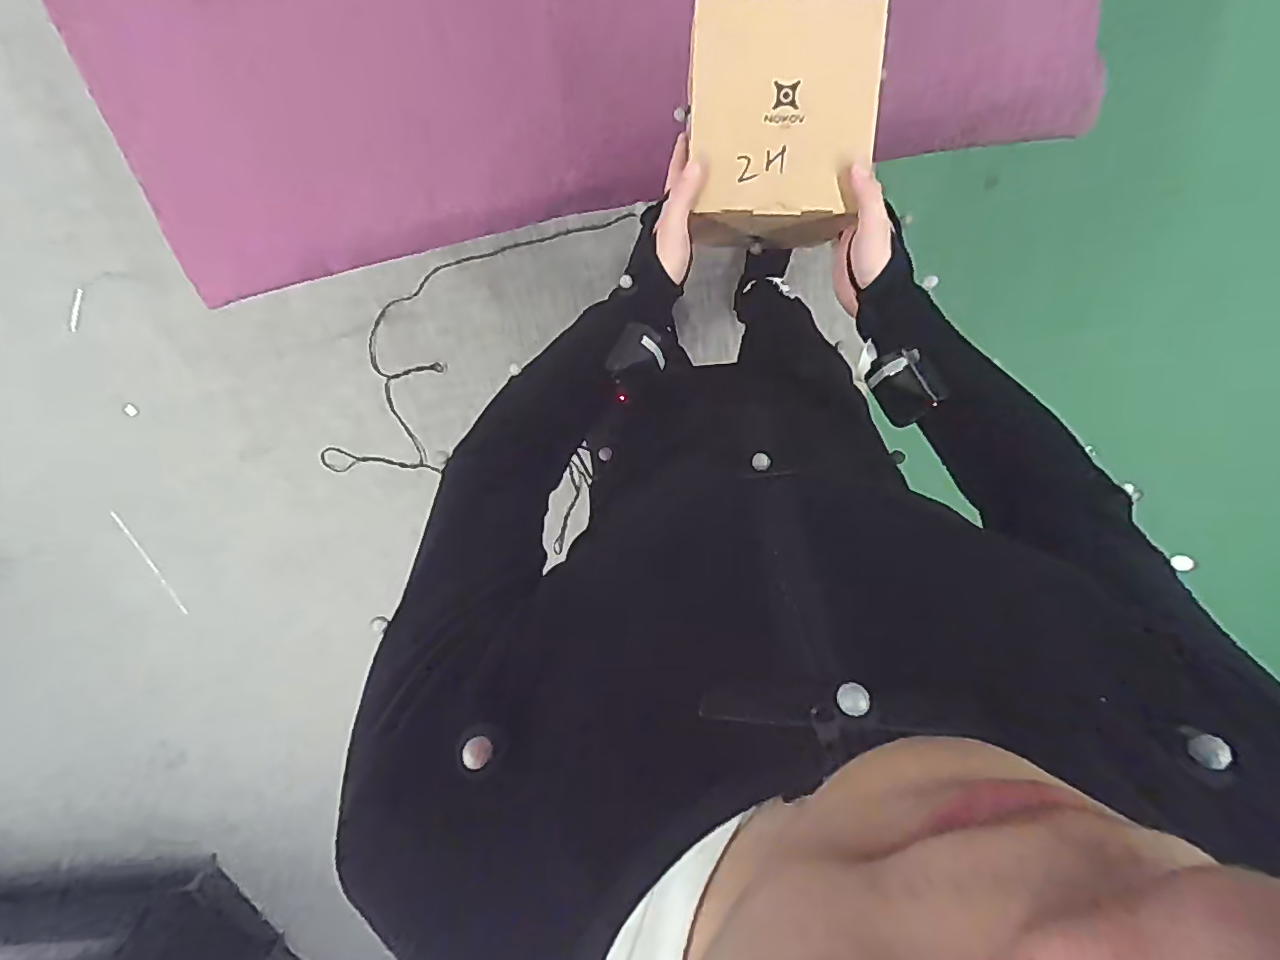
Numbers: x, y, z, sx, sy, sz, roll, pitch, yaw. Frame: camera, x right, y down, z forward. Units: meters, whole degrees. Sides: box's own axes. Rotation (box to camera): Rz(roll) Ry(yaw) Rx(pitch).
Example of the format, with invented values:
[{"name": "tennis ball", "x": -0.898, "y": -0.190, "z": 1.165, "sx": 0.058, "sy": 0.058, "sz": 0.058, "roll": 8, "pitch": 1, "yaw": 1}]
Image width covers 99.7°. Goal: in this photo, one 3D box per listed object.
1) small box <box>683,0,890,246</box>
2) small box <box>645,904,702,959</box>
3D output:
[{"name": "small box", "x": 0.131, "y": -0.351, "z": 0.551, "sx": 0.168, "sy": 0.176, "sz": 0.179, "roll": 2, "pitch": 104, "yaw": 3}, {"name": "small box", "x": 0.111, "y": 1.528, "z": 1.778, "sx": 0.168, "sy": 0.176, "sz": 0.179, "roll": -9, "pitch": 116, "yaw": 8}]
